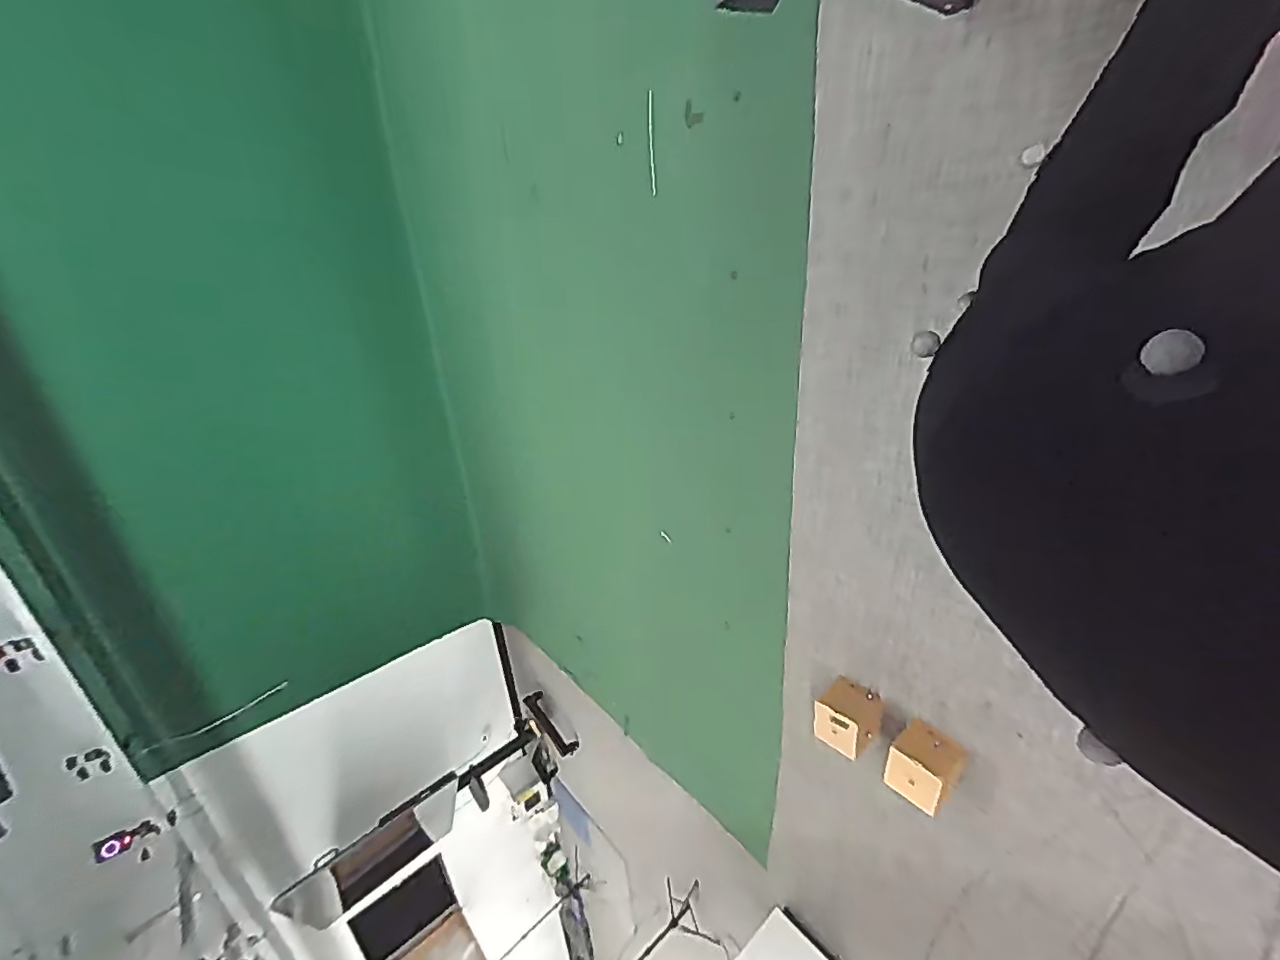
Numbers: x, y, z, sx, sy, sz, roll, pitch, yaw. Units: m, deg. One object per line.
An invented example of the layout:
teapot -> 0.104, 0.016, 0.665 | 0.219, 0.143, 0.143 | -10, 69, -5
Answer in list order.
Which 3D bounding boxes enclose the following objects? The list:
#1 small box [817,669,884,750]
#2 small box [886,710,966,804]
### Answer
small box -> 0.765, 0.825, 1.962 | 0.168, 0.176, 0.179 | 22, 125, 47
small box -> 0.938, 0.900, 1.770 | 0.168, 0.176, 0.179 | 25, 127, 45
